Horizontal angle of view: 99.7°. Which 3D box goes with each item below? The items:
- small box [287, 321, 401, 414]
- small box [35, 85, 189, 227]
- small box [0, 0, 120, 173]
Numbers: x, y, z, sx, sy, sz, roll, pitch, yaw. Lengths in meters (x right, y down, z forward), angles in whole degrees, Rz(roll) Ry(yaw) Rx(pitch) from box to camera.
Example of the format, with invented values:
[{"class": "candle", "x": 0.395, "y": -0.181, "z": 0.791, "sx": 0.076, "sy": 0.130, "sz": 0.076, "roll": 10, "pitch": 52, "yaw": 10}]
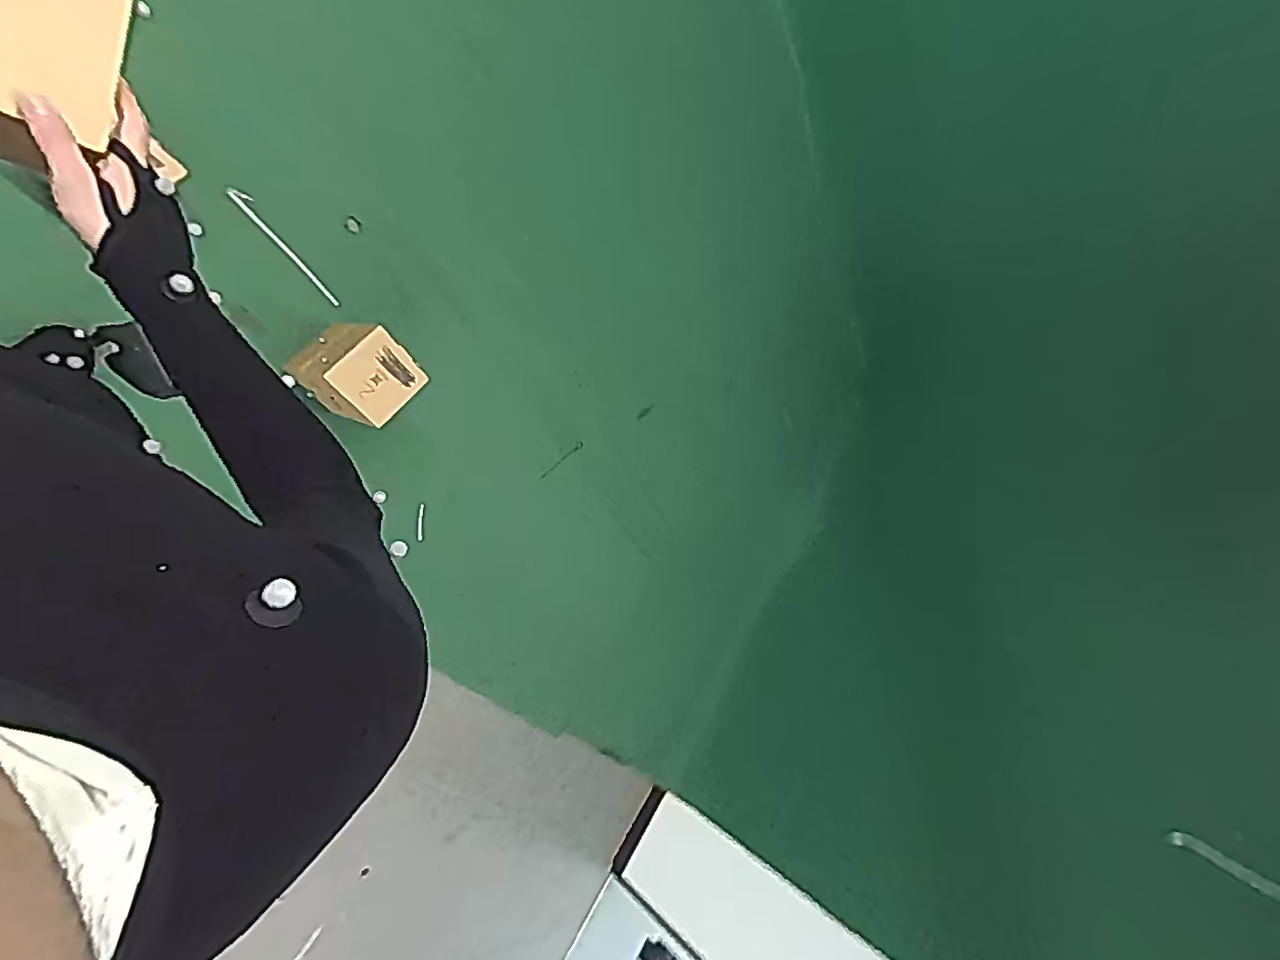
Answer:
[{"class": "small box", "x": -0.772, "y": -0.297, "z": 1.405, "sx": 0.179, "sy": 0.176, "sz": 0.168, "roll": -52, "pitch": 133, "yaw": -21}, {"class": "small box", "x": -1.032, "y": -0.618, "z": 1.044, "sx": 0.179, "sy": 0.176, "sz": 0.168, "roll": -54, "pitch": 132, "yaw": -20}, {"class": "small box", "x": -0.519, "y": -0.364, "z": 0.406, "sx": 0.168, "sy": 0.176, "sz": 0.179, "roll": 7, "pitch": 94, "yaw": -52}]
